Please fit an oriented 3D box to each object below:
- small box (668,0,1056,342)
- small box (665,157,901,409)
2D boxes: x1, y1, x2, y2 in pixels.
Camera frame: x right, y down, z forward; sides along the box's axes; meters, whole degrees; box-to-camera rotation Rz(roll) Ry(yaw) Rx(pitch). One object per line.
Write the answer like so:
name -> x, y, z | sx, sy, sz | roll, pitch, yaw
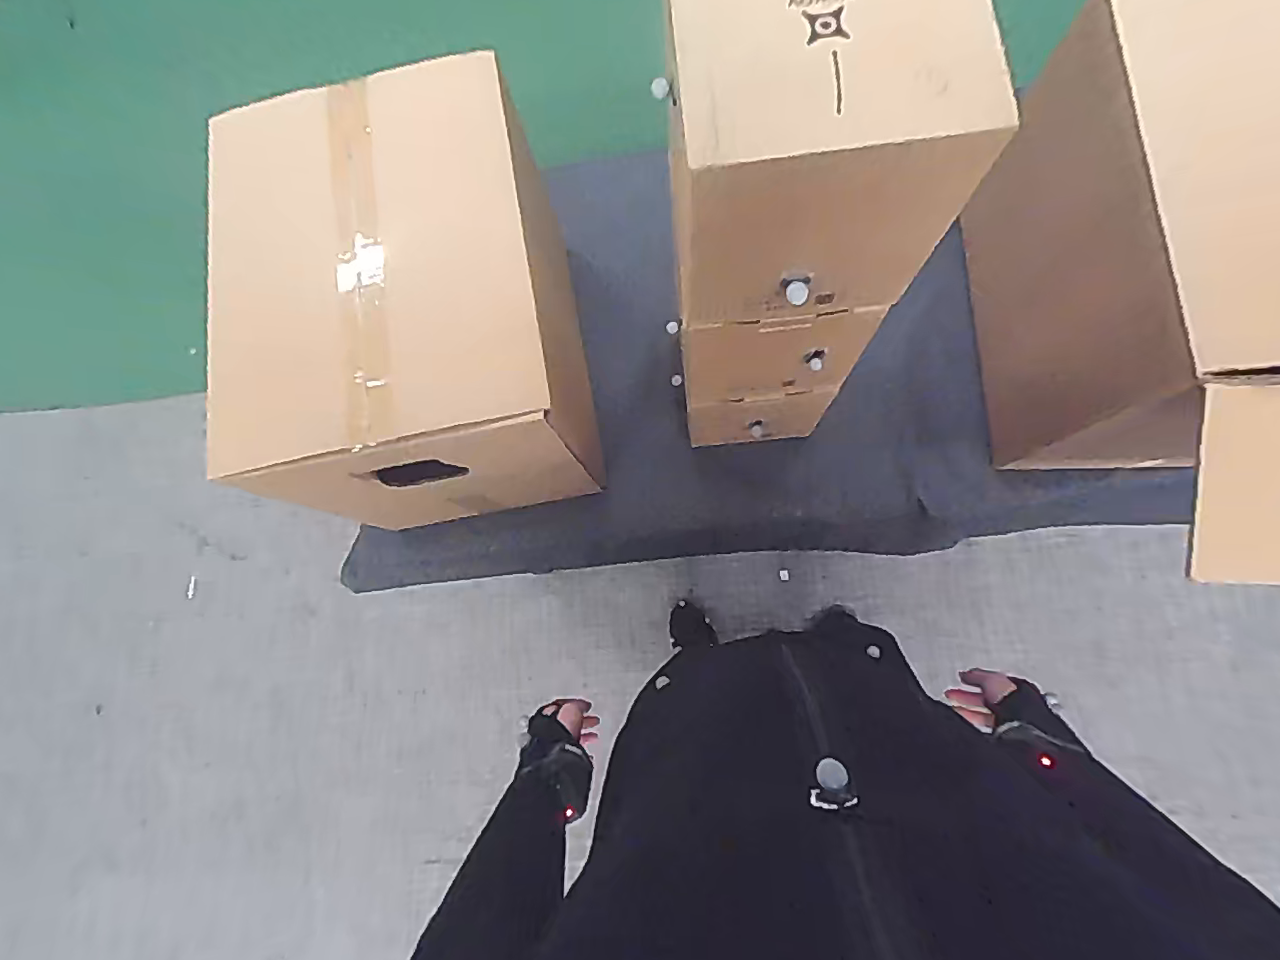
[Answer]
small box -> 0.105, -0.209, 0.340 | 0.168, 0.176, 0.179 | -6, 79, 5
small box -> 0.116, -0.174, 0.500 | 0.168, 0.176, 0.179 | -6, 76, 4
